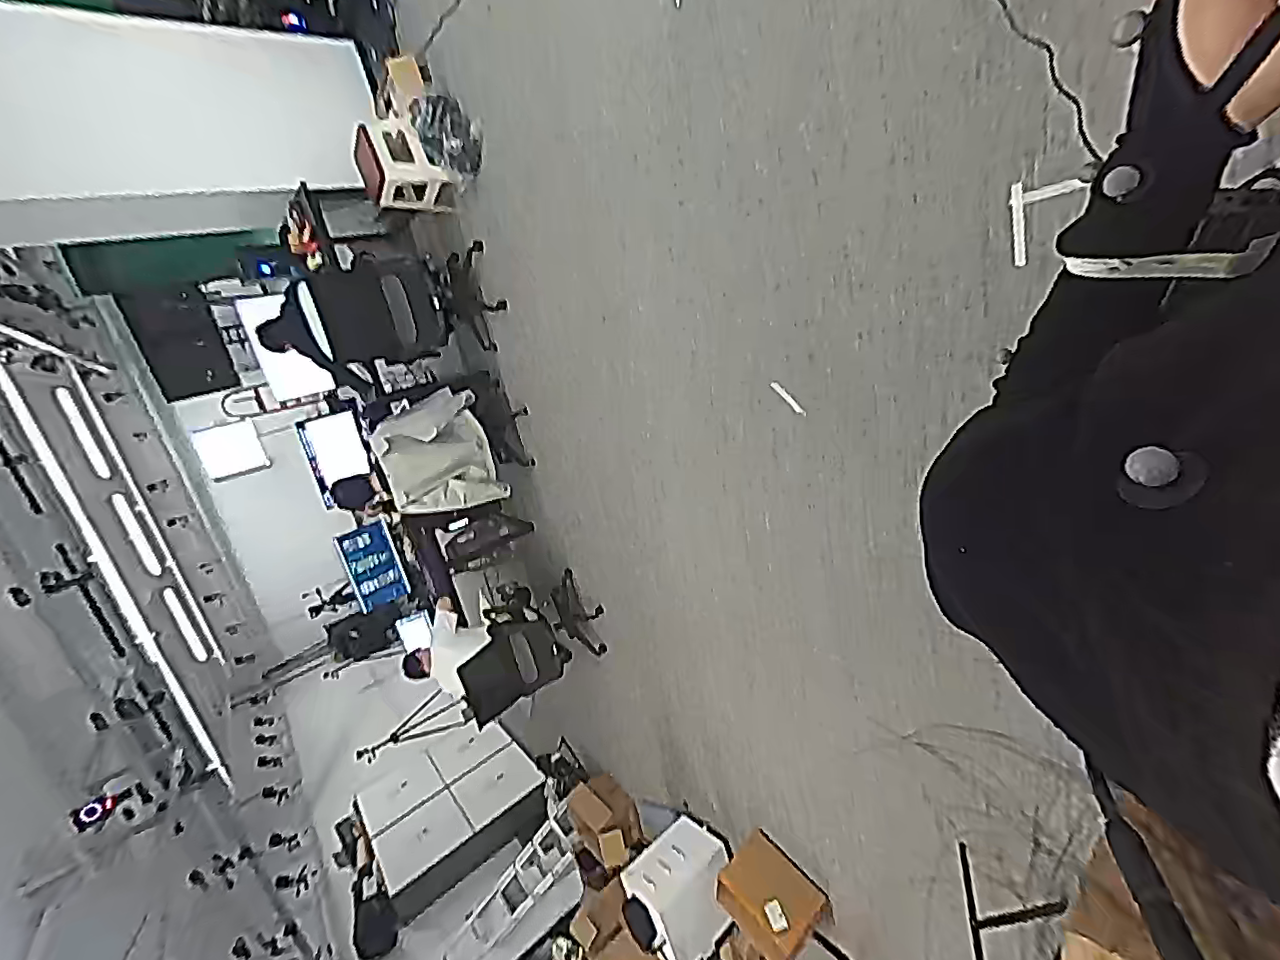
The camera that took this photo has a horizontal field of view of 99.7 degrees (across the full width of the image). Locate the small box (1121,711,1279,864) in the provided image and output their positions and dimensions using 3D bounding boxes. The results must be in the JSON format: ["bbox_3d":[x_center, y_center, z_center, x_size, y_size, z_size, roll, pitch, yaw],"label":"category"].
[{"bbox_3d":[0.605,0.376,0.548,0.168,0.176,0.179,13,120,51],"label":"small box"}]

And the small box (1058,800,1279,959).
[{"bbox_3d":[0.479,0.428,0.456,0.168,0.176,0.179,8,115,51],"label":"small box"}]
